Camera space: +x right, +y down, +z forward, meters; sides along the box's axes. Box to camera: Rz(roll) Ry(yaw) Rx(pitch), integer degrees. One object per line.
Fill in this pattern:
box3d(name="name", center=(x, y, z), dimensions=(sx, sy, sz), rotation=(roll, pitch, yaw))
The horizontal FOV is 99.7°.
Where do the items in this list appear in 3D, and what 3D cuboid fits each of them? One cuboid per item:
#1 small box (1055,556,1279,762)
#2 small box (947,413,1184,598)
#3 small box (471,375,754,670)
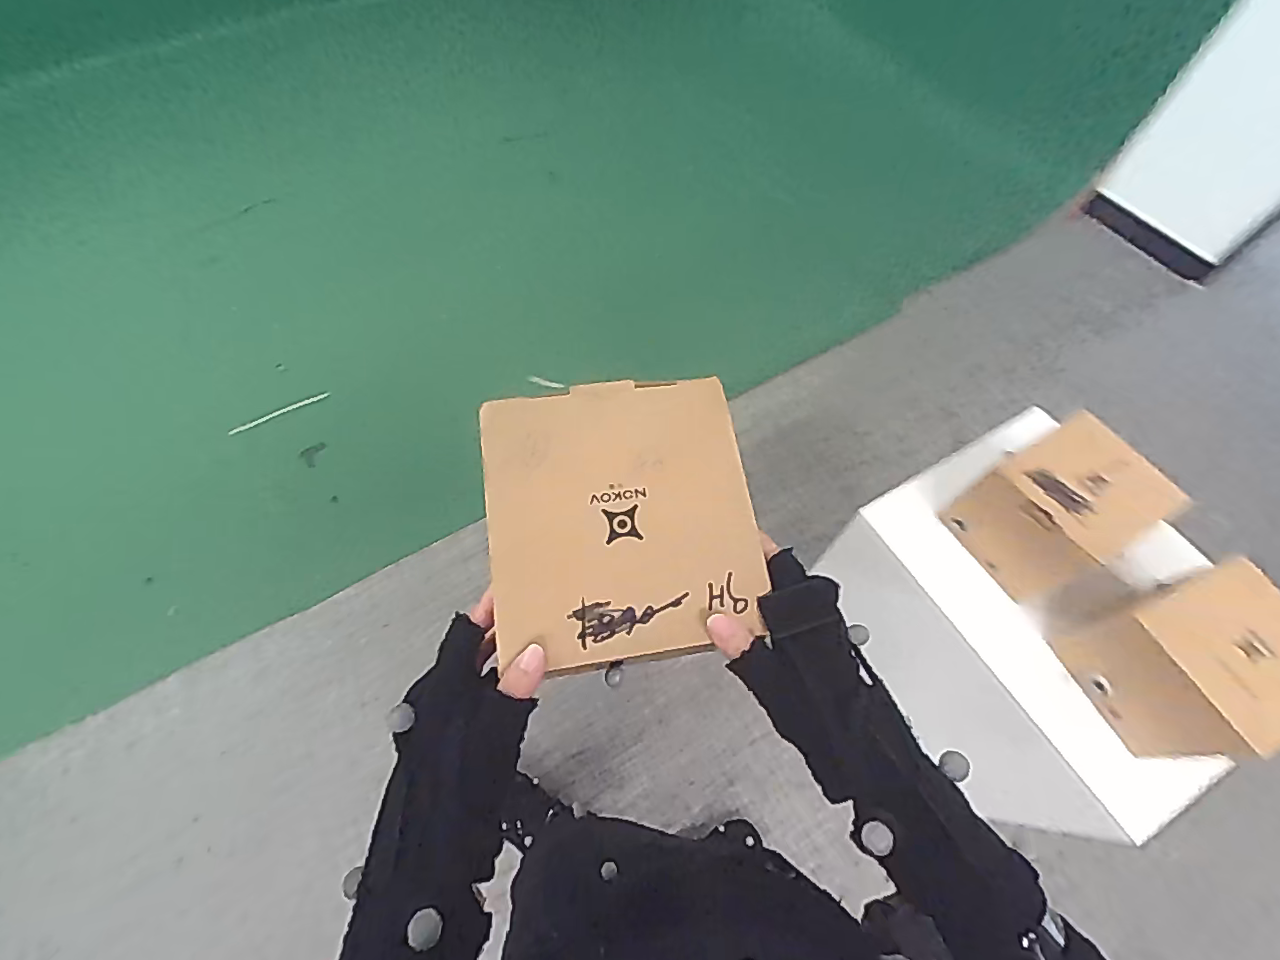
box3d(name="small box", center=(0.671, 0.220, 0.656), dimensions=(0.179, 0.176, 0.168), rotation=(-23, 63, -8))
box3d(name="small box", center=(0.576, 0.043, 0.767), dimensions=(0.179, 0.176, 0.168), rotation=(-27, 65, -13))
box3d(name="small box", center=(-0.029, 0.043, 0.422), dimensions=(0.168, 0.176, 0.179), rotation=(-8, 69, -7))
